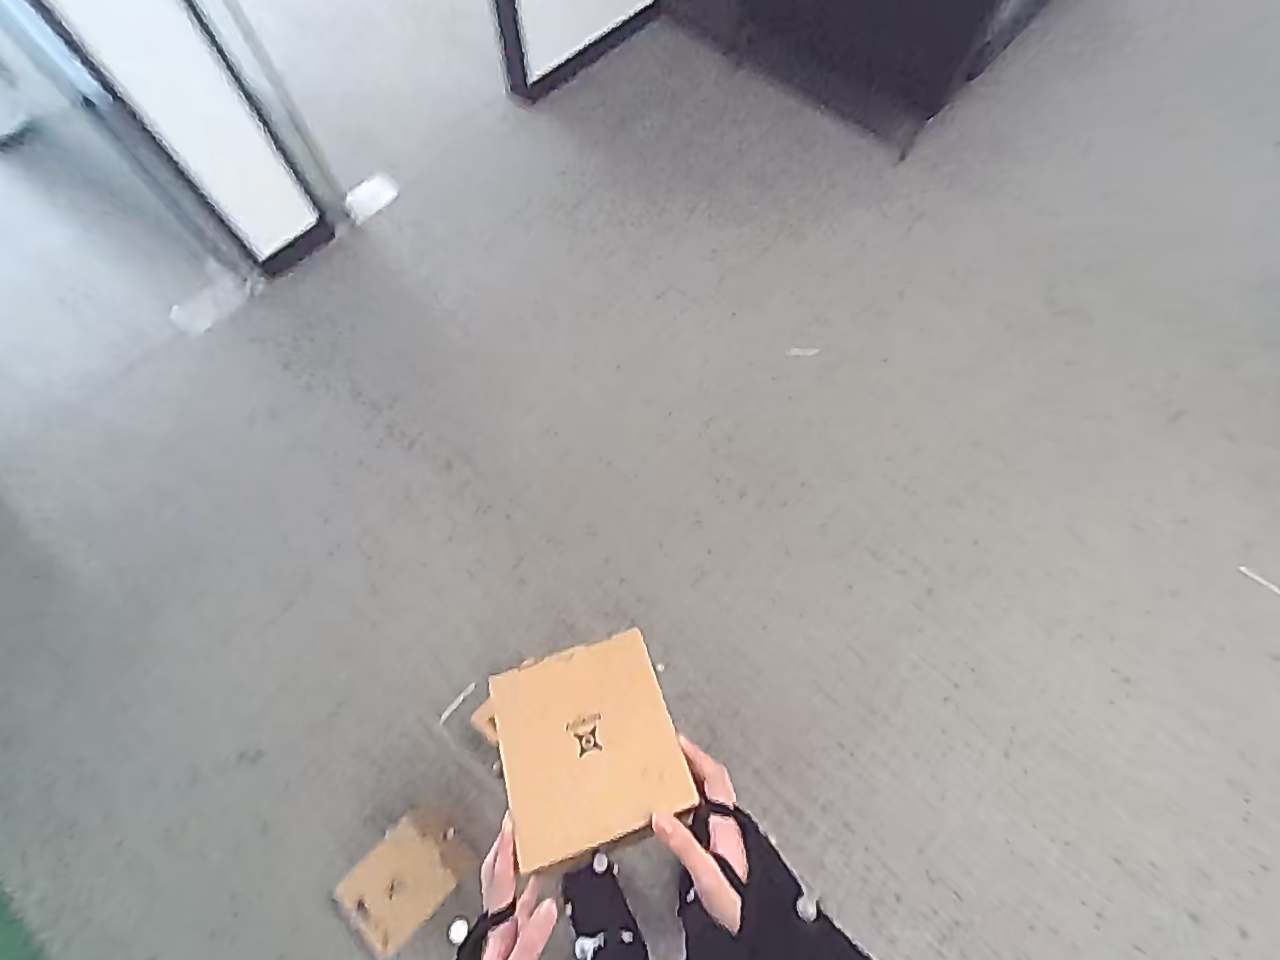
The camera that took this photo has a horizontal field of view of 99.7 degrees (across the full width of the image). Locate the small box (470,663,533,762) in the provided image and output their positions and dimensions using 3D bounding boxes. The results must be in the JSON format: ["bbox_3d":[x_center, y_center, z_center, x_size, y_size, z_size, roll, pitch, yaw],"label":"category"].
[{"bbox_3d":[-0.248,0.545,1.223,0.168,0.176,0.179,40,71,14],"label":"small box"}]

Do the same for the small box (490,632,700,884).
[{"bbox_3d":[-0.045,0.294,0.570,0.168,0.176,0.179,-16,53,-10],"label":"small box"}]

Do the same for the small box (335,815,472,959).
[{"bbox_3d":[-0.465,0.823,1.100,0.168,0.176,0.179,41,71,15],"label":"small box"}]
